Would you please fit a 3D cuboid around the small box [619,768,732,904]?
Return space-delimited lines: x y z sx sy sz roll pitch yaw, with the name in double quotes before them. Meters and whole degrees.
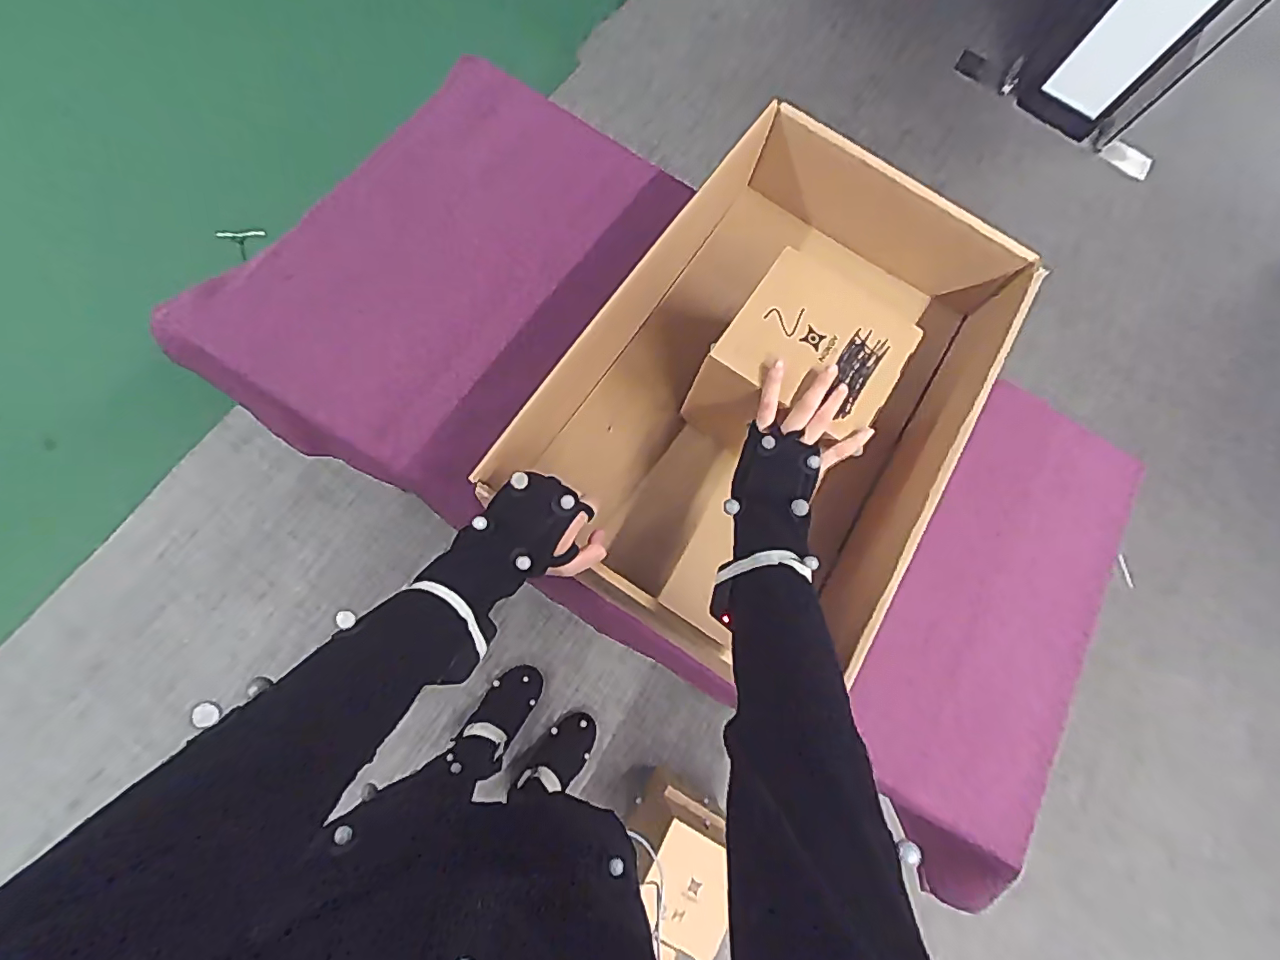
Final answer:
"small box" 0.070 0.767 1.191 0.179 0.176 0.168 32 73 2

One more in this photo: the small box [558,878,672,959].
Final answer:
"small box" -0.060 0.970 1.119 0.179 0.176 0.168 28 72 0
